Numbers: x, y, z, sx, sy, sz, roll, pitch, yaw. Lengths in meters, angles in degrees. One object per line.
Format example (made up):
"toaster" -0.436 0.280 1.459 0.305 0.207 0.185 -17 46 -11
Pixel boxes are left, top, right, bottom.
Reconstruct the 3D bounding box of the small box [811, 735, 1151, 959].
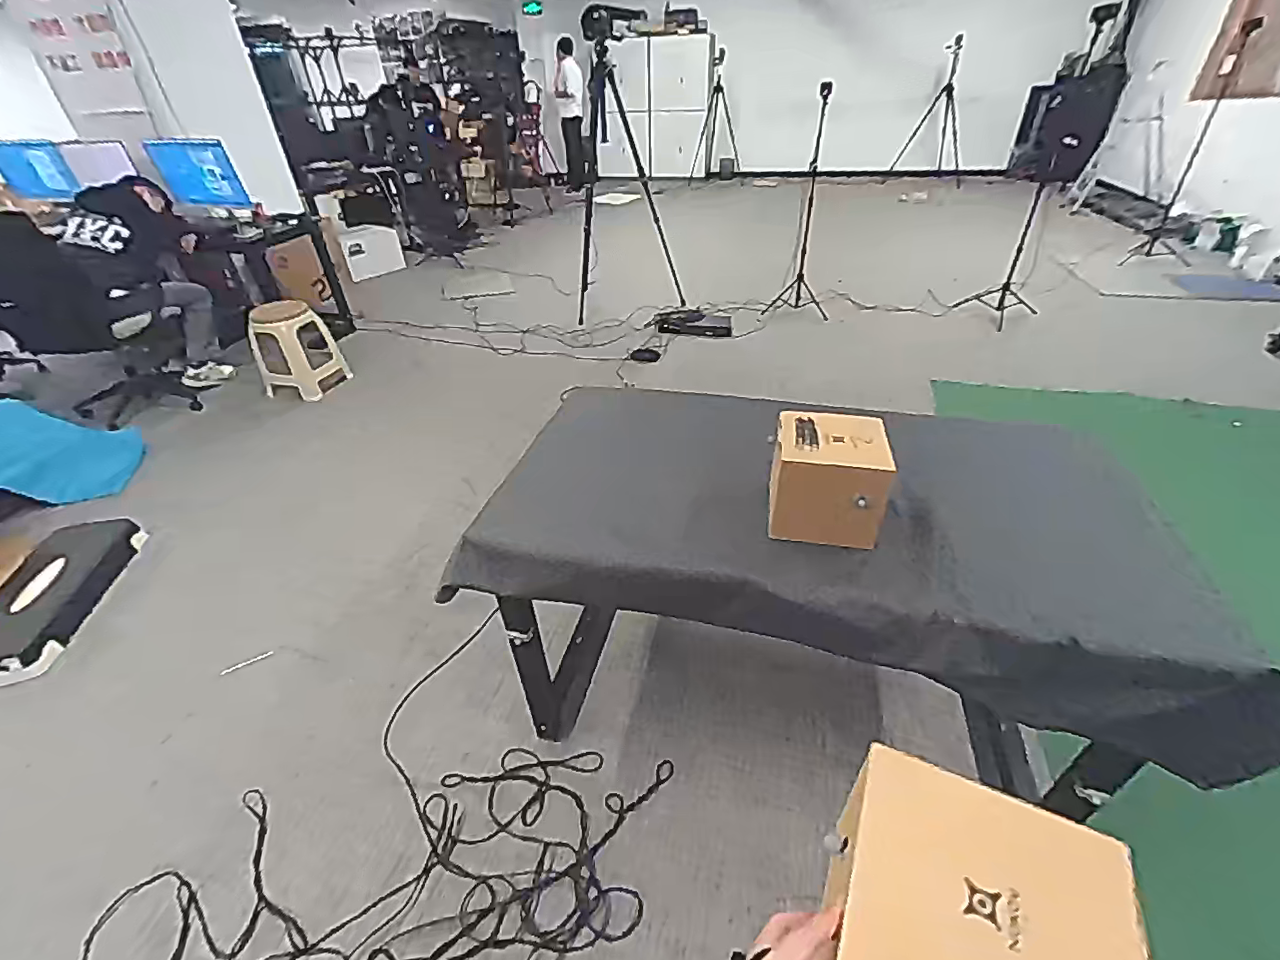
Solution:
"small box" 0.239 0.340 0.411 0.179 0.176 0.168 16 42 21
